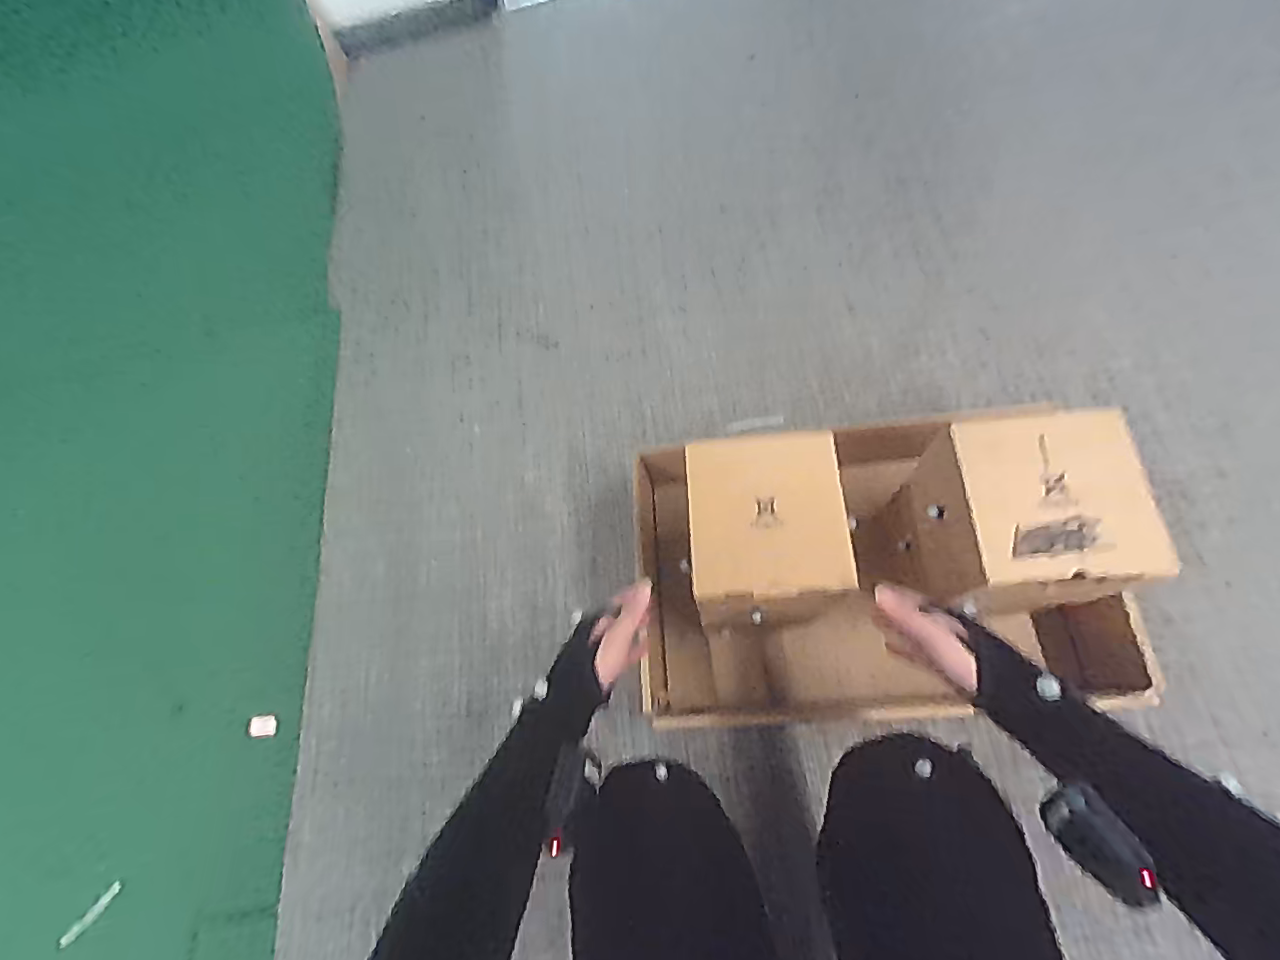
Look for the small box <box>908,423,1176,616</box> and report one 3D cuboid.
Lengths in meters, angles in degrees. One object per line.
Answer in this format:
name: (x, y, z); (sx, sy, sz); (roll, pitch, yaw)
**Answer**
small box: (0.425, 0.057, 0.611); (0.168, 0.176, 0.179); (-4, 66, 9)
